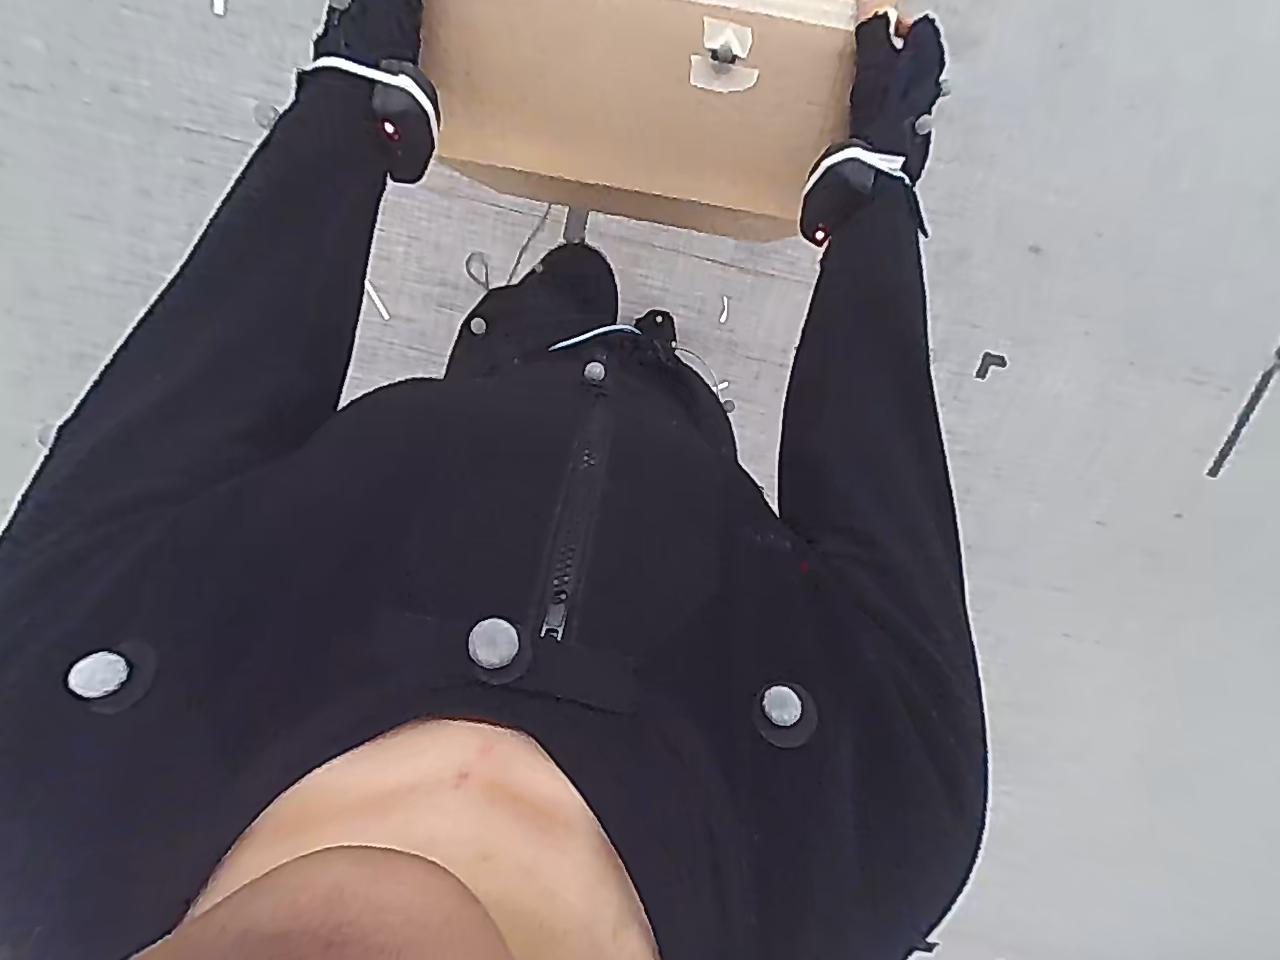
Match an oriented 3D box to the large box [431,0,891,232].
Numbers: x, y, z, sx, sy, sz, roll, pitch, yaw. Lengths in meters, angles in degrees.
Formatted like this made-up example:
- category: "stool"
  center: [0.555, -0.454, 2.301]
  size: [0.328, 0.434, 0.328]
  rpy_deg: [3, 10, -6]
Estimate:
- category: "large box"
  center: [0.018, -0.480, 0.604]
  size: [0.408, 0.320, 0.320]
  rpy_deg: [8, 112, -4]
